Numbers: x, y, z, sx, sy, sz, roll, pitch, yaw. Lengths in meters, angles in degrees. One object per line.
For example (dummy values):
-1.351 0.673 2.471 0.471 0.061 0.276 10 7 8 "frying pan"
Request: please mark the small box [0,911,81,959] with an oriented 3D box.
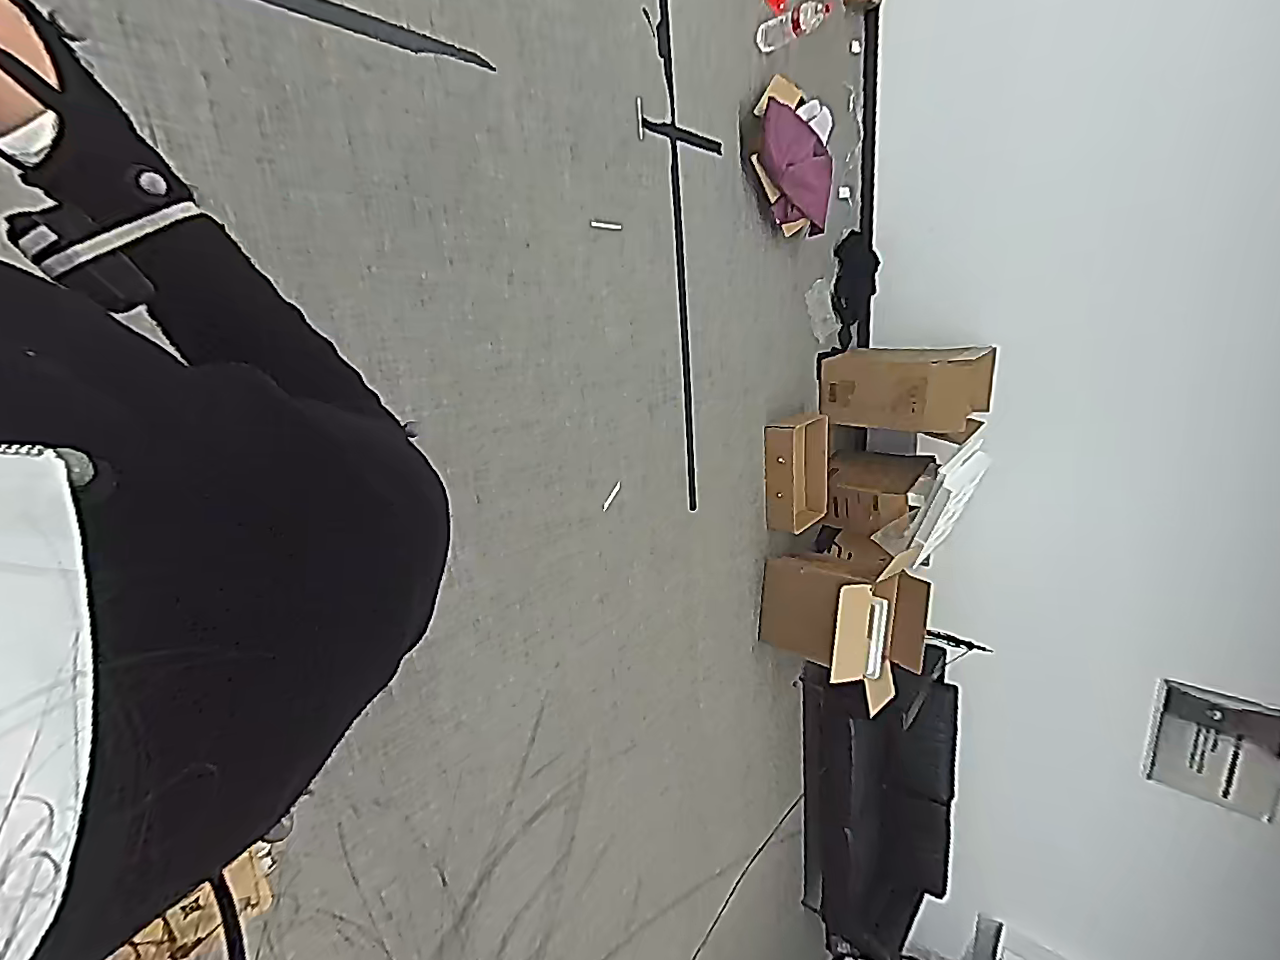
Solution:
-0.708 0.626 0.572 0.168 0.176 0.179 -10 103 -45 "small box"
